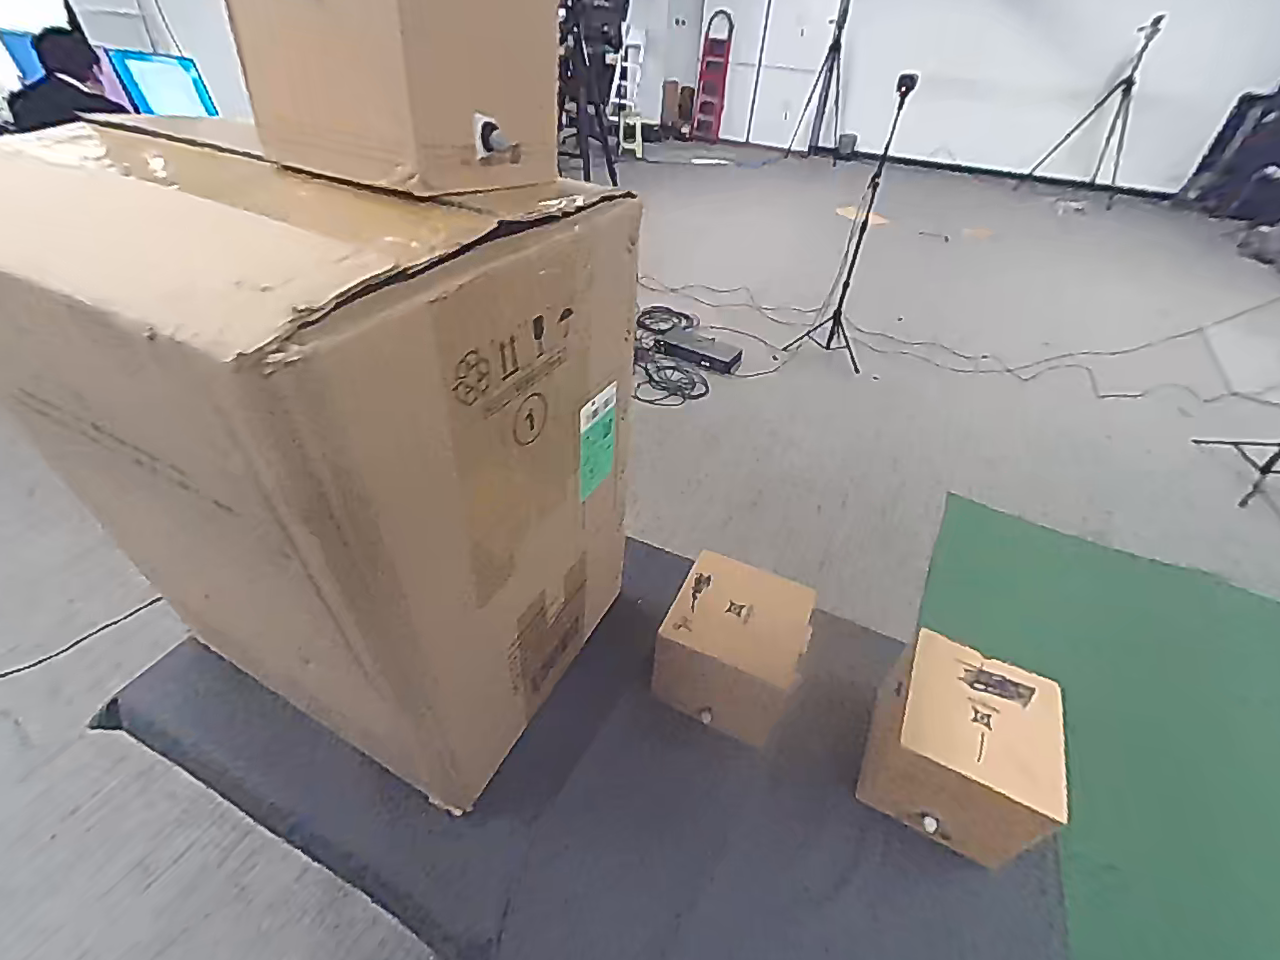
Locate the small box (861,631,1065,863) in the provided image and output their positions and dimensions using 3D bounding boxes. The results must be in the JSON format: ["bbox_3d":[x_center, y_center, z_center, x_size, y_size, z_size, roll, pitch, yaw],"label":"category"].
[{"bbox_3d":[0.399,0.335,0.688,0.168,0.176,0.179,21,44,20],"label":"small box"}]

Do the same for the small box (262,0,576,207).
[{"bbox_3d":[-0.170,-0.328,0.434,0.179,0.176,0.168,22,39,18],"label":"small box"}]
